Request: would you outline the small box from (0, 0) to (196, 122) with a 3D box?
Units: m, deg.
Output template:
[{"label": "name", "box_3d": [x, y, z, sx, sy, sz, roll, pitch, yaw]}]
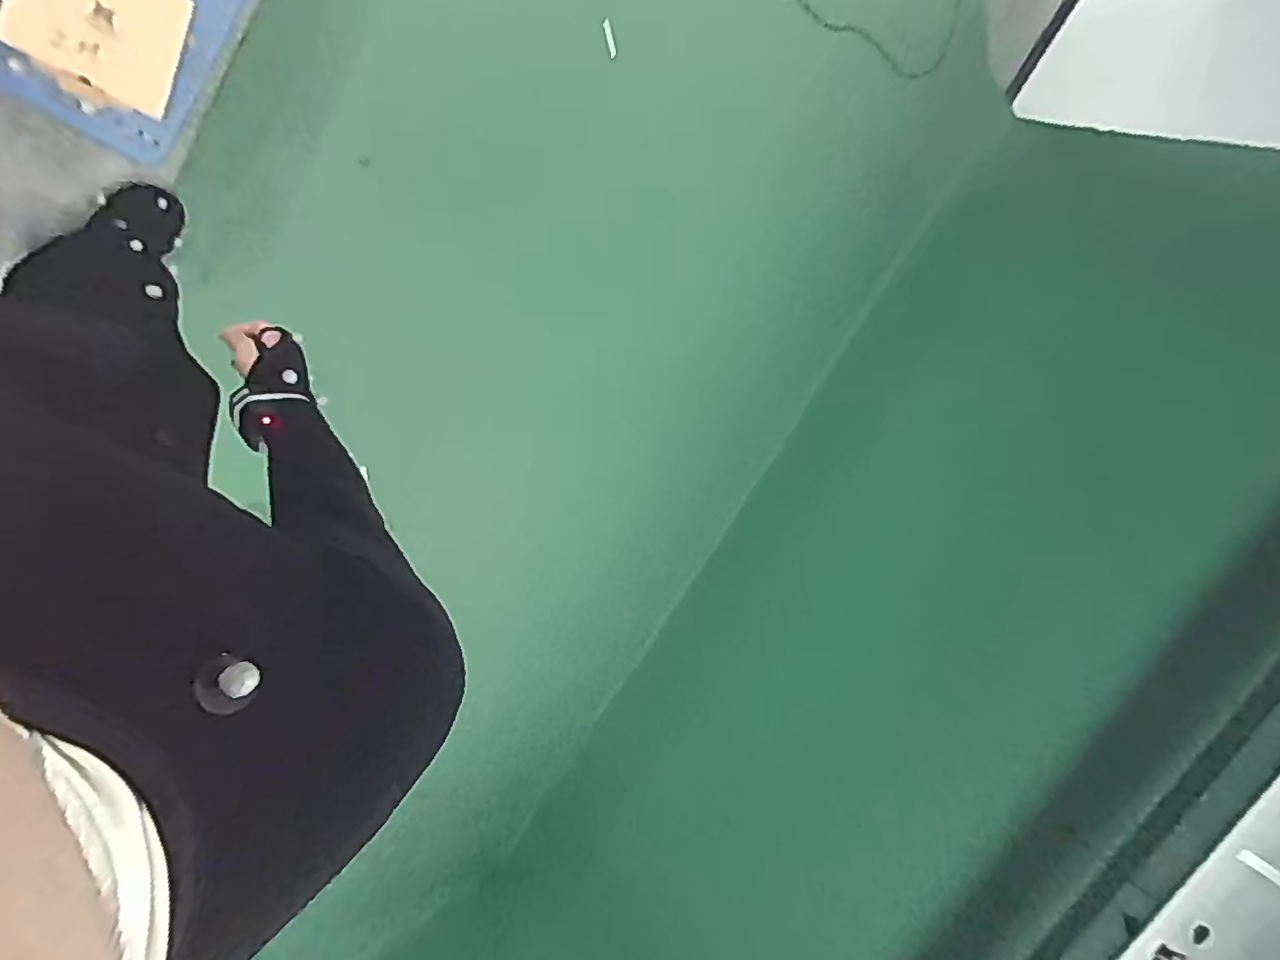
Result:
[{"label": "small box", "box_3d": [-0.789, -0.665, 0.782, 0.168, 0.176, 0.179, 24, 101, -52]}]
